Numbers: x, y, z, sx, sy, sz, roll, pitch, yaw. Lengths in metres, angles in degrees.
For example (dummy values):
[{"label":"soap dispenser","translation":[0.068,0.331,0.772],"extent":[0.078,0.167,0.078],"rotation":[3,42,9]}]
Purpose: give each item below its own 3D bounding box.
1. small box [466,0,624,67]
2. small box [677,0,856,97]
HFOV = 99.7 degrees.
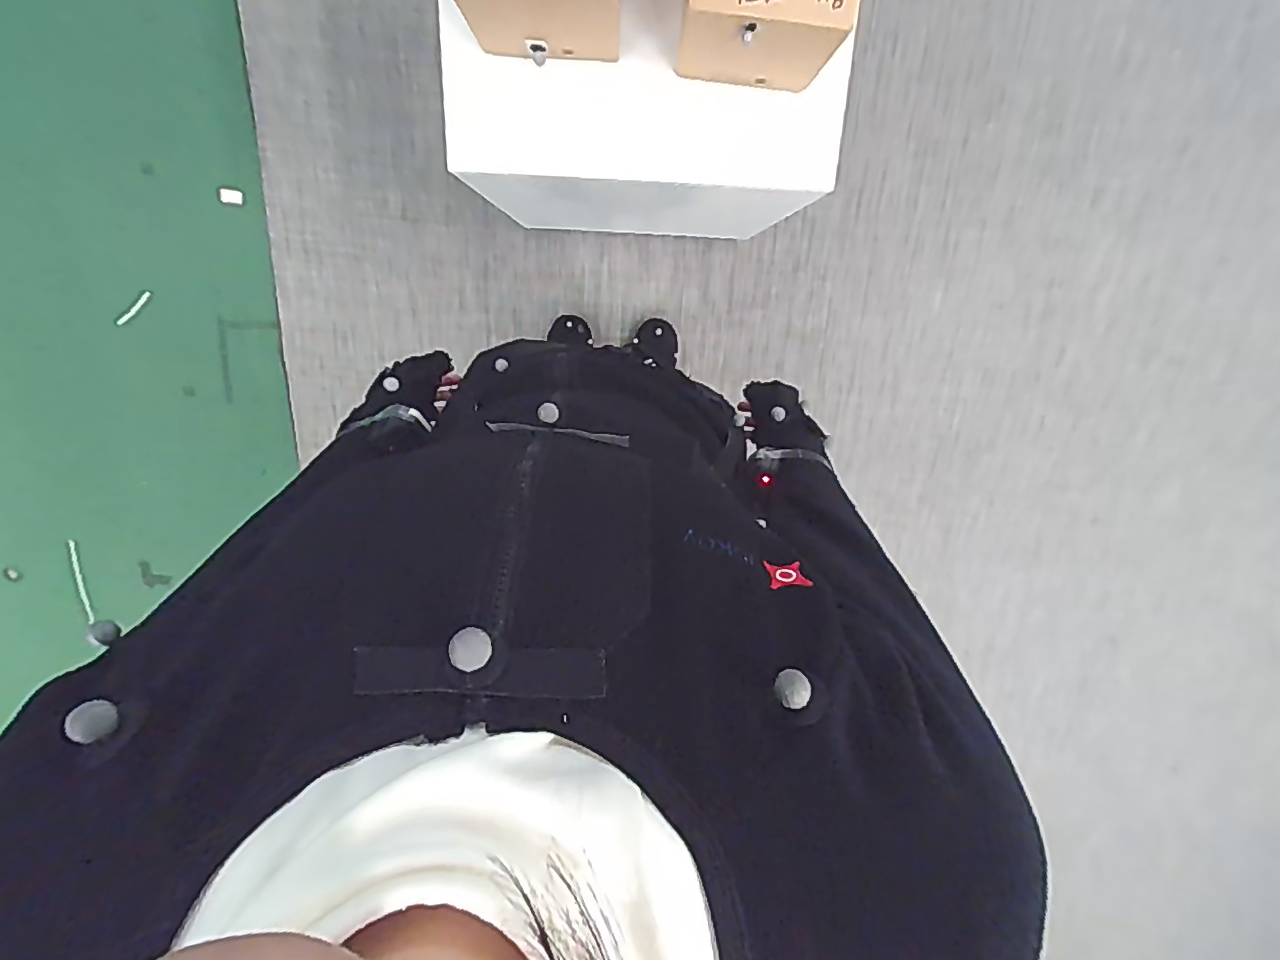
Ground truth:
[{"label":"small box","translation":[-0.101,-0.576,0.570],"extent":[0.168,0.176,0.179],"rotation":[1,109,0]},{"label":"small box","translation":[0.134,-0.551,0.578],"extent":[0.168,0.176,0.179],"rotation":[6,107,-2]}]
